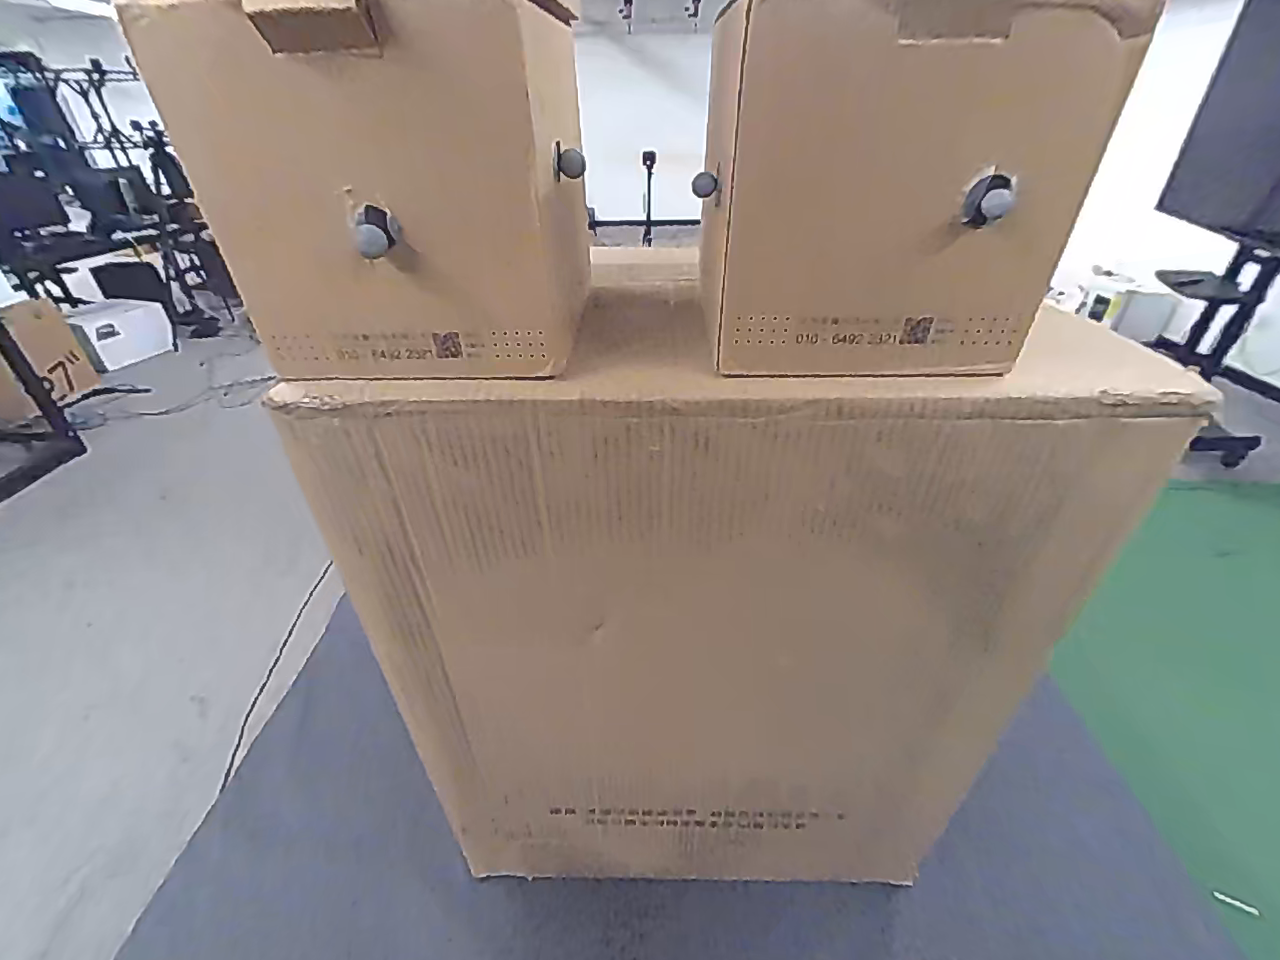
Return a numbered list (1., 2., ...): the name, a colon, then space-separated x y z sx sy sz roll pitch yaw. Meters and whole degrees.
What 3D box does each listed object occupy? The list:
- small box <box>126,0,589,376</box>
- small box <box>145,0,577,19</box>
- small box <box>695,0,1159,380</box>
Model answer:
1. small box: -0.125 -0.174 0.331 0.168 0.176 0.179 1 37 2
2. small box: -0.127 -0.311 0.238 0.179 0.176 0.168 0 36 3
3. small box: 0.123 -0.169 0.323 0.168 0.176 0.179 2 35 1
